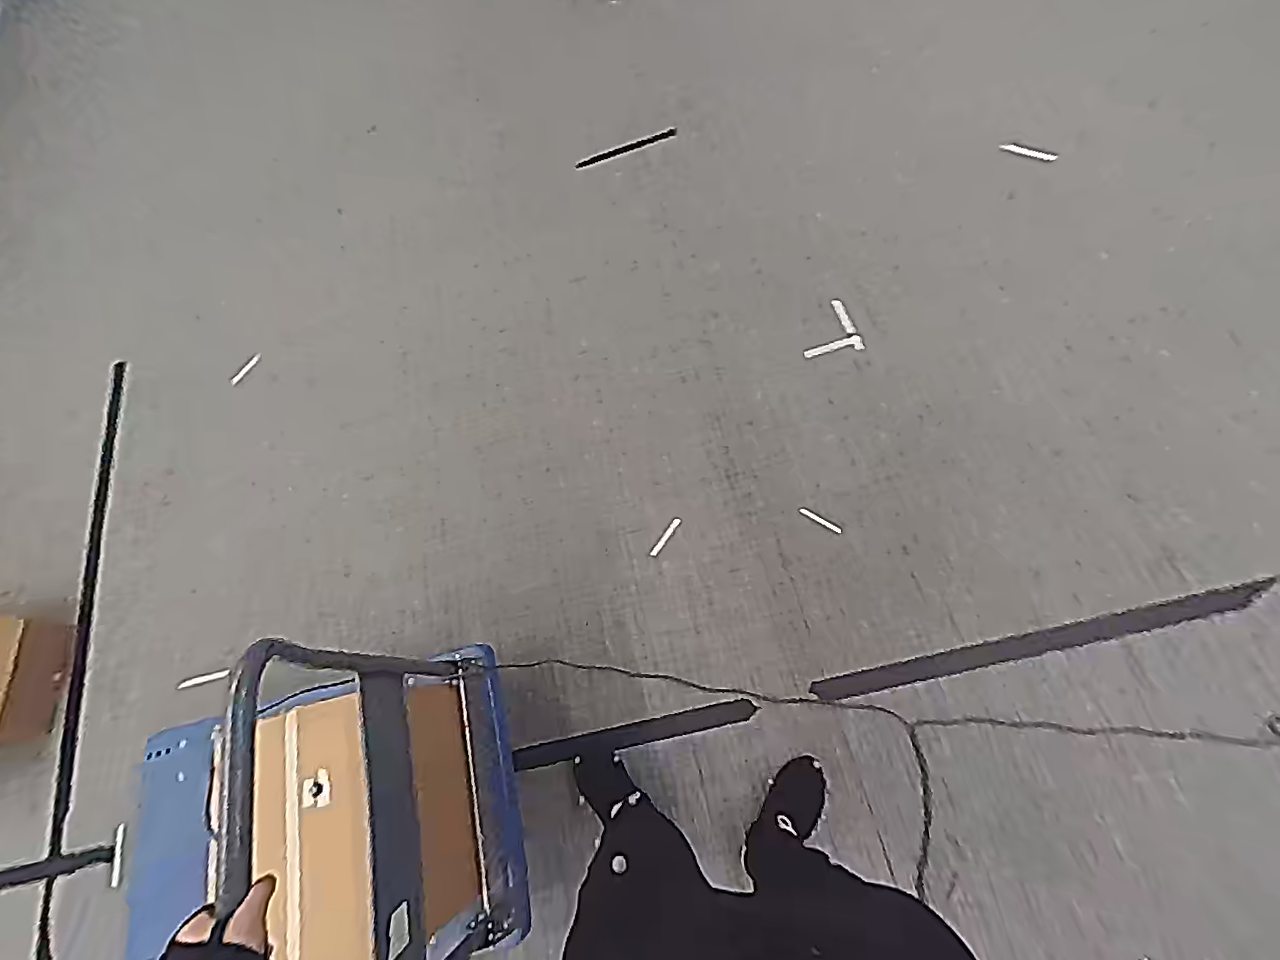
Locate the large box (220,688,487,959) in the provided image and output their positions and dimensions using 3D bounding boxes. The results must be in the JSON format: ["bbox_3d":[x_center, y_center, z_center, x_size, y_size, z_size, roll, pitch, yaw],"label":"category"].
[{"bbox_3d":[-0.520,0.642,1.020,0.320,0.320,0.408,-17,67,3],"label":"large box"}]
